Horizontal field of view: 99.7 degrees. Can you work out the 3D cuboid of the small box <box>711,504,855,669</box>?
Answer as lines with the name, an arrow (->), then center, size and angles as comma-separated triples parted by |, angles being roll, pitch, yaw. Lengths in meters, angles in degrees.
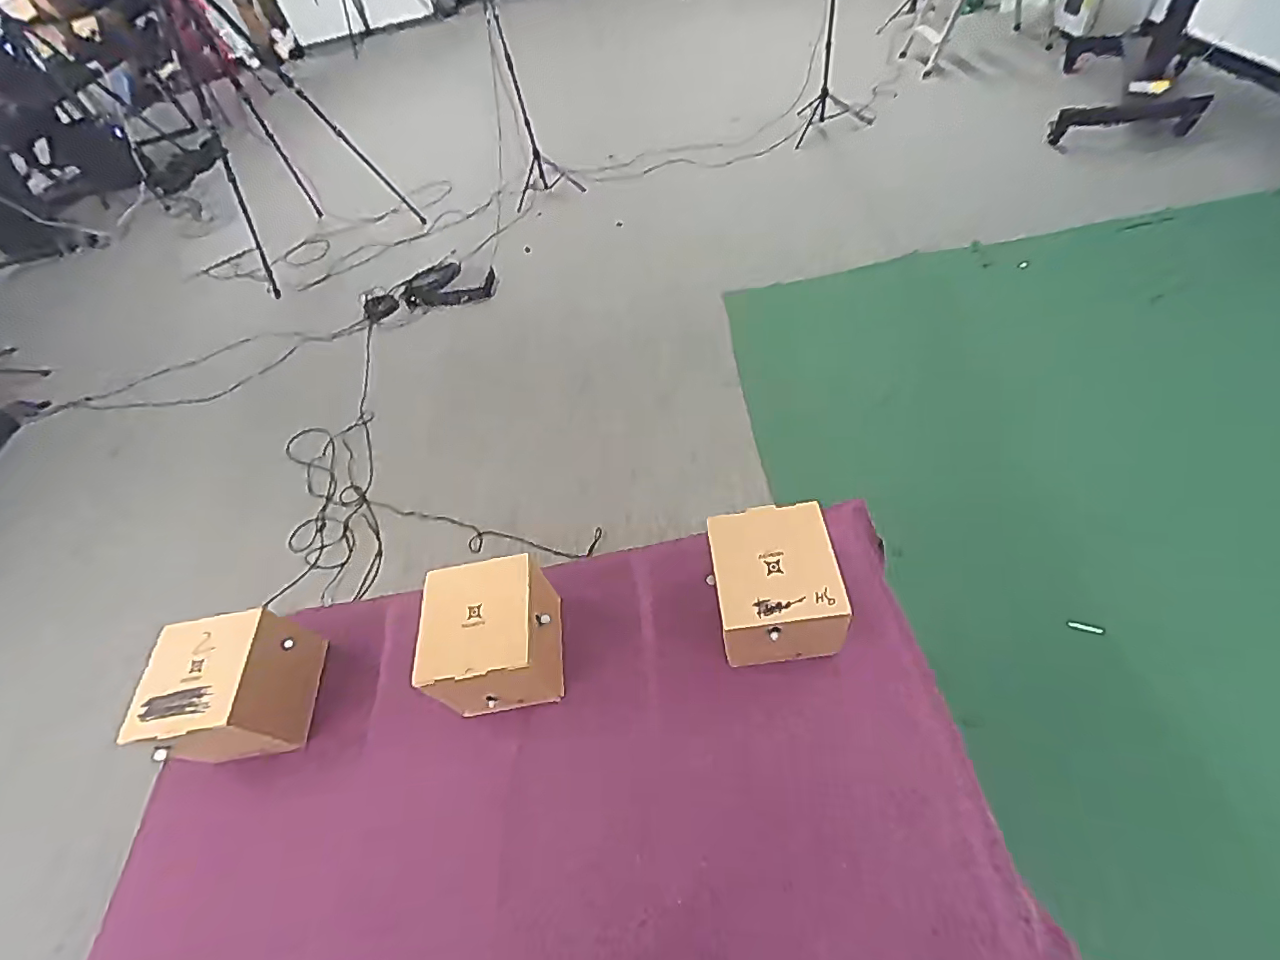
small box -> 0.200, 0.161, 0.801 | 0.168, 0.176, 0.179 | -9, 53, 6

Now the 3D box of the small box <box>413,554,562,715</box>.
small box -> -0.221, 0.240, 0.830 | 0.168, 0.176, 0.179 | -11, 53, 3
